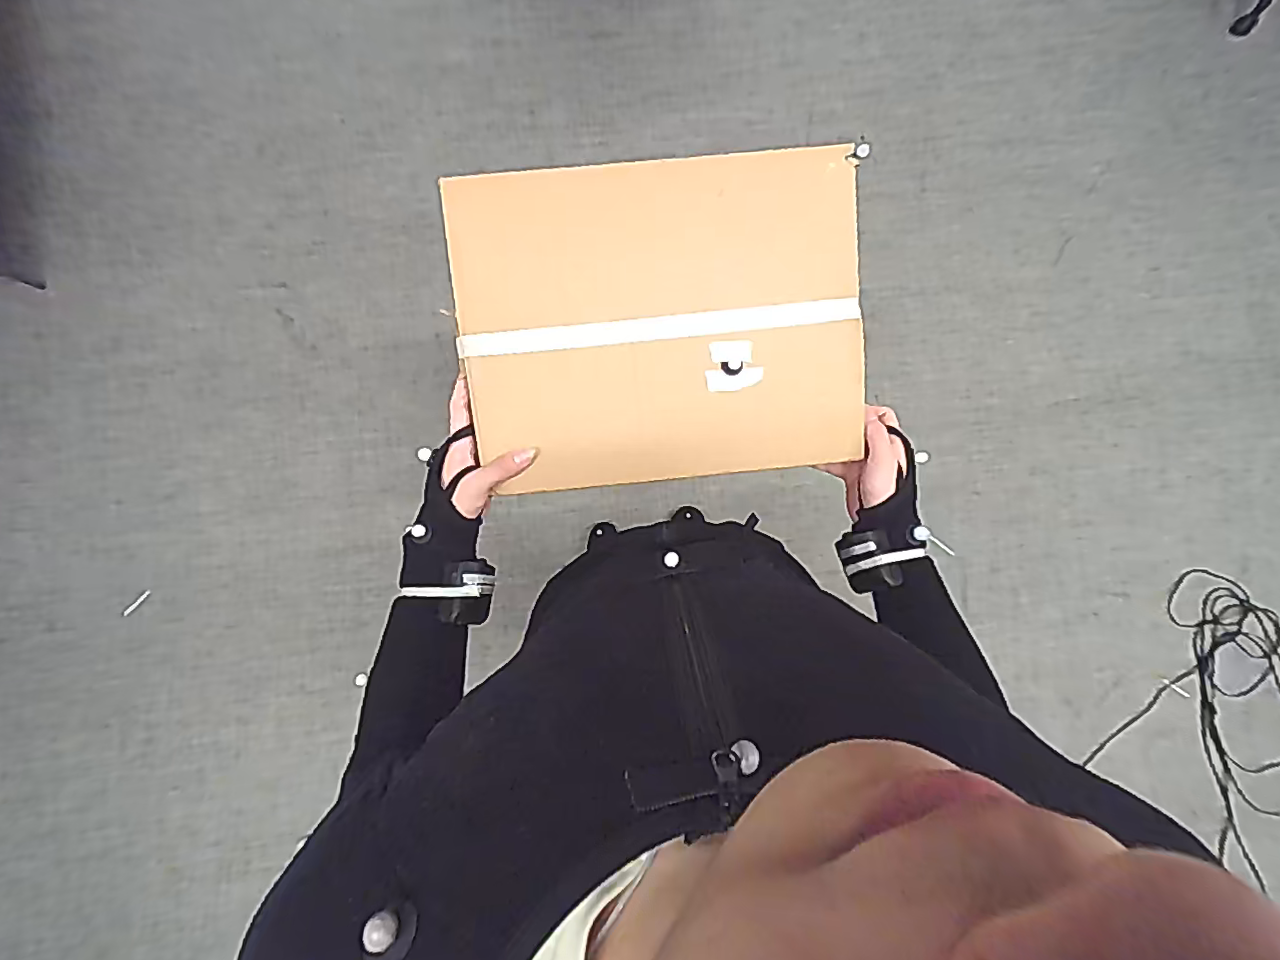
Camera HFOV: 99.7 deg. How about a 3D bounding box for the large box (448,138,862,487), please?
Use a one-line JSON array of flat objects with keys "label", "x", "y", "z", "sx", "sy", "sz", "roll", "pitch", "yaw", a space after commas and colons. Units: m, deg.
[{"label": "large box", "x": 0.017, "y": -0.187, "z": 0.700, "sx": 0.408, "sy": 0.320, "sz": 0.320, "roll": -6, "pitch": 100, "yaw": -2}]
